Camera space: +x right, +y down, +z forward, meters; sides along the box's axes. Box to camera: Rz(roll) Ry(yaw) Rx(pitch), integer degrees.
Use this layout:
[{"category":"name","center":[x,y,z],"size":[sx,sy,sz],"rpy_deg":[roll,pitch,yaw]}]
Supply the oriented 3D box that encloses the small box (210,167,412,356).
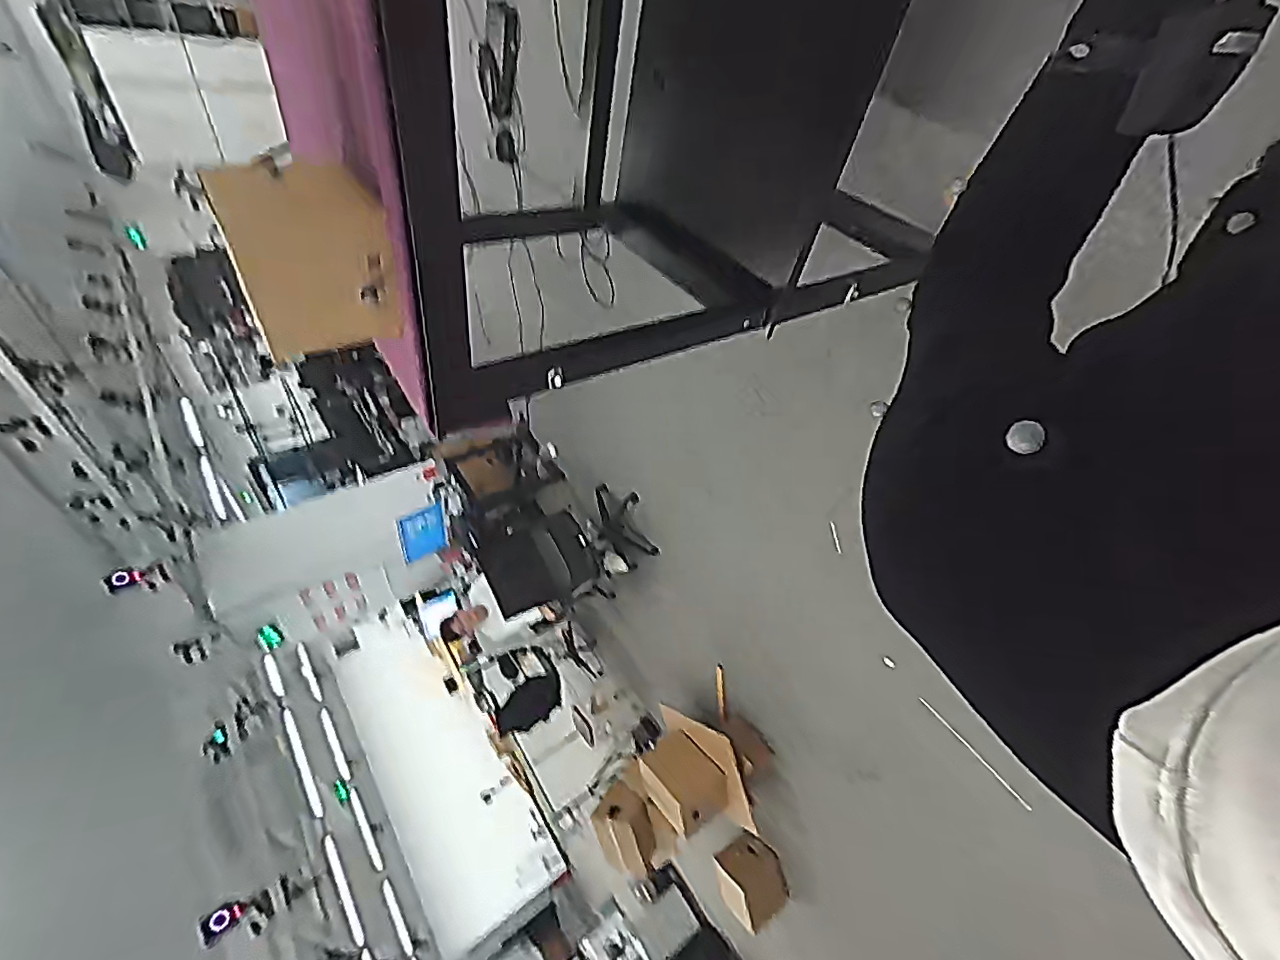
[{"category":"small box","center":[-0.413,-0.287,0.699],"size":[0.179,0.176,0.168],"rpy_deg":[48,145,31]}]
